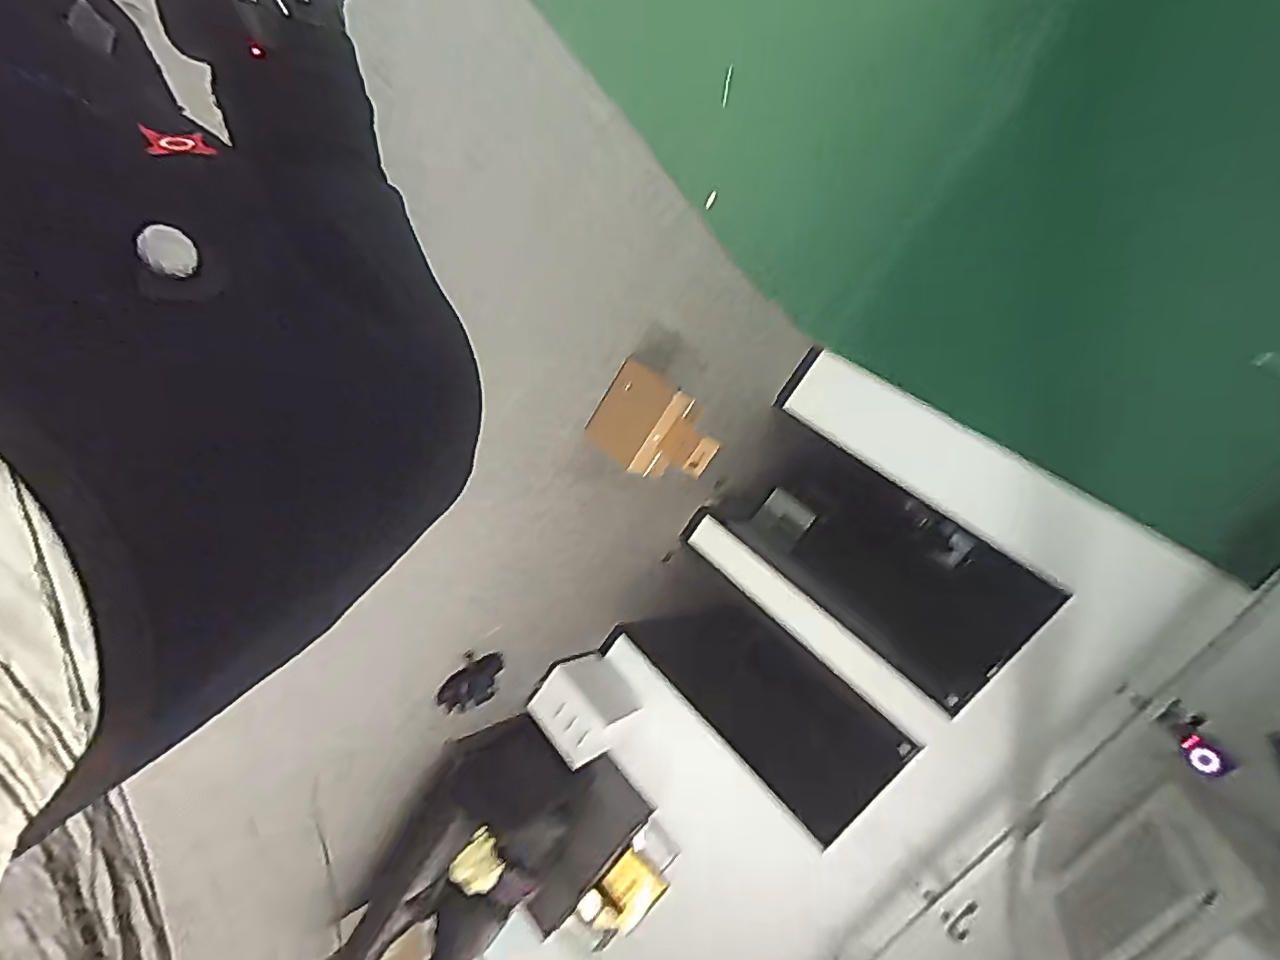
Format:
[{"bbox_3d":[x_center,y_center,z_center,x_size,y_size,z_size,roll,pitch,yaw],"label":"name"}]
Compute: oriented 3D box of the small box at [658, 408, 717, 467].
[{"bbox_3d":[0.201,-0.187,2.389,0.179,0.176,0.168,-54,149,8],"label":"small box"}]
